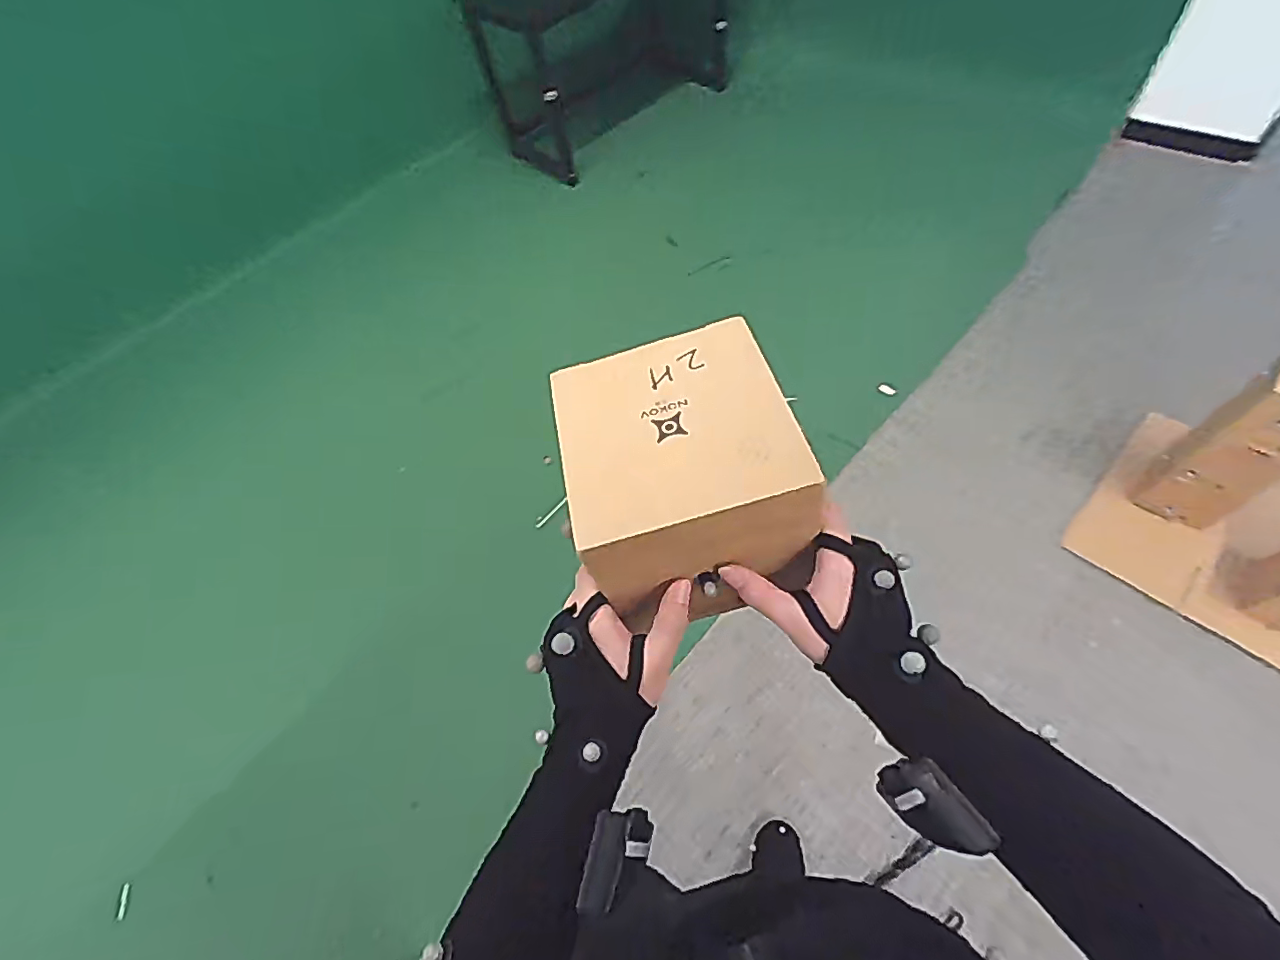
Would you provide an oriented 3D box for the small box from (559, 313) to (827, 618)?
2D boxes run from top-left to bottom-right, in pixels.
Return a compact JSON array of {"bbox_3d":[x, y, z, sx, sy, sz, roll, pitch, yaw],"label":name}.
[{"bbox_3d":[0.043,0.000,0.451,0.168,0.176,0.179,-15,52,4],"label":"small box"}]

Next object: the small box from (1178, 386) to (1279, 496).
[{"bbox_3d":[1.500,-0.092,1.340,0.168,0.176,0.179,33,69,26],"label":"small box"}]

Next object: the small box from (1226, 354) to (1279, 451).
[{"bbox_3d":[1.479,-0.174,1.202,0.168,0.176,0.179,33,69,27],"label":"small box"}]

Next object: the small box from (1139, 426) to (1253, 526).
[{"bbox_3d":[1.526,-0.008,1.477,0.168,0.176,0.179,30,69,25],"label":"small box"}]
